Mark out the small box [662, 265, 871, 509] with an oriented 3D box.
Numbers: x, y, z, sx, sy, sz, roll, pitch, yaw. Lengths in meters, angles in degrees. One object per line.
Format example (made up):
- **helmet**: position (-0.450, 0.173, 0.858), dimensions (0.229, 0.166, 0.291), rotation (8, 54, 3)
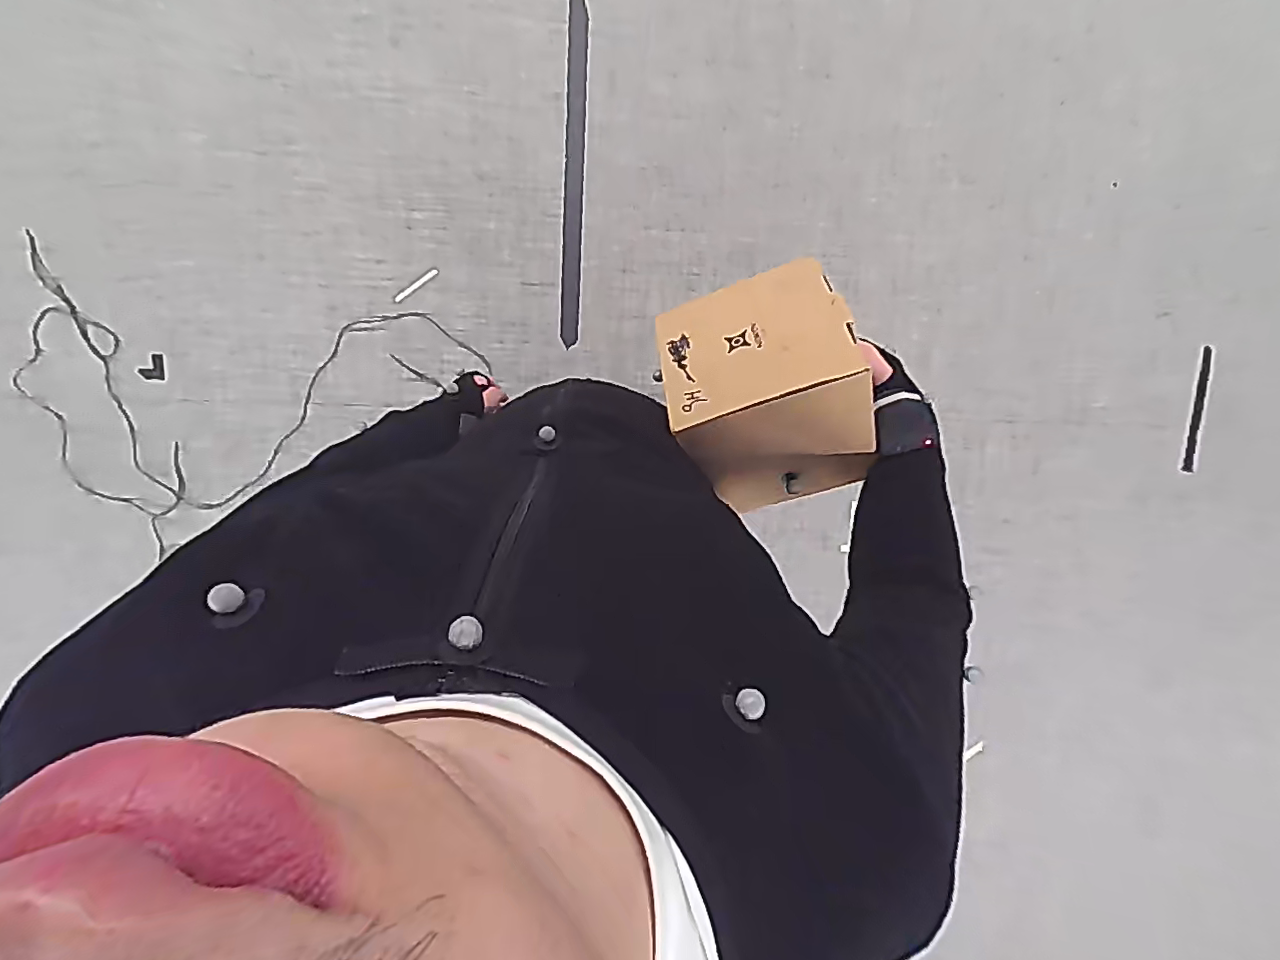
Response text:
- **small box**: position (0.139, -0.092, 0.592), dimensions (0.179, 0.168, 0.176), rotation (-17, 142, 14)
